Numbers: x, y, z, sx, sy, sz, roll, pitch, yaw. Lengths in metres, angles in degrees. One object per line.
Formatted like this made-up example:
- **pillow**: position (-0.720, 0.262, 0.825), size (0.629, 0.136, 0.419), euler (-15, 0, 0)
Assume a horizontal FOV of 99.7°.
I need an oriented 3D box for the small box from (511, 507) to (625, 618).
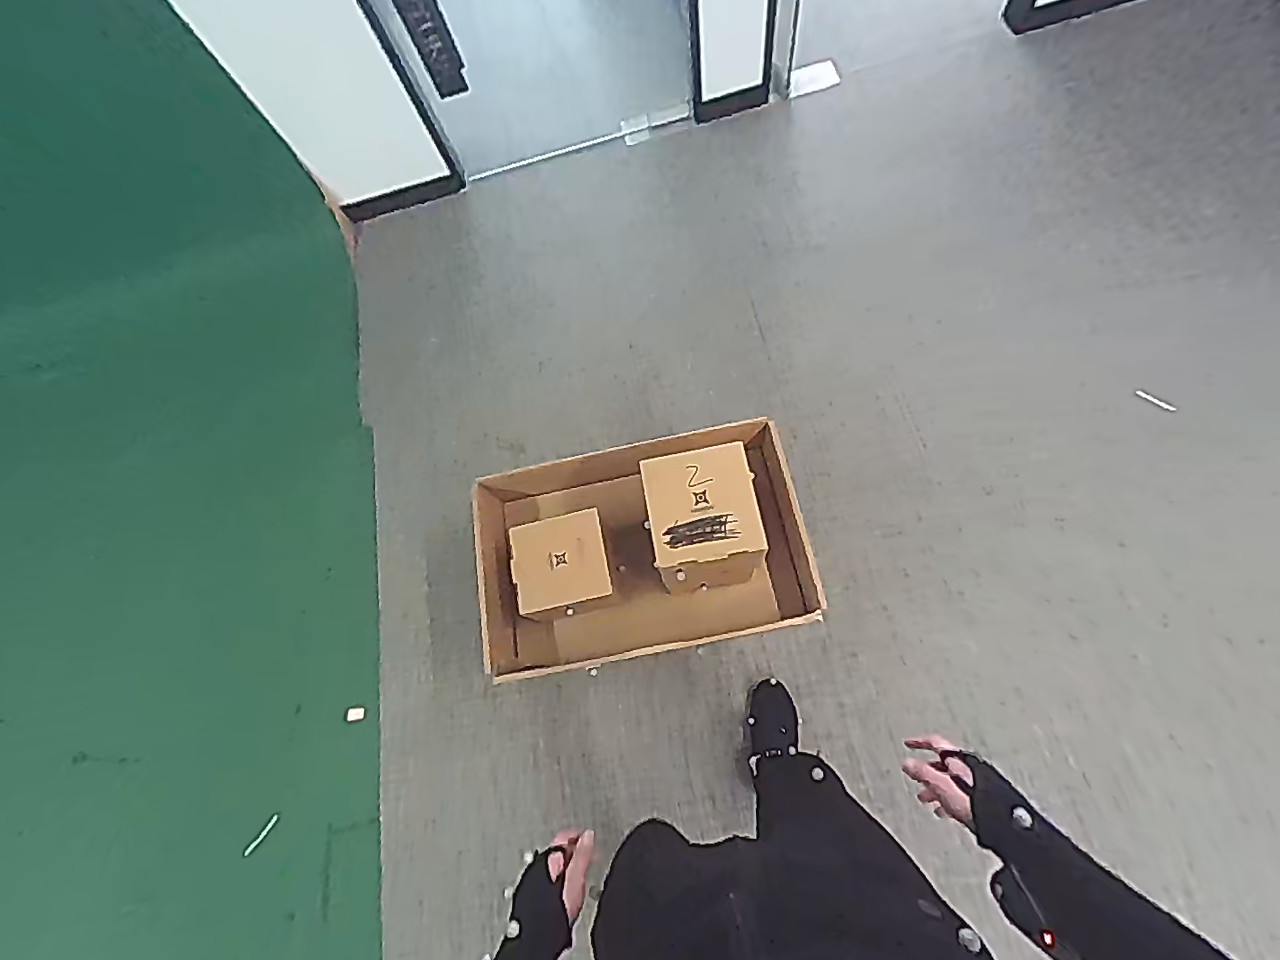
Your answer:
- **small box**: position (-0.137, 0.169, 1.063), size (0.179, 0.176, 0.168), euler (-12, 70, 2)
